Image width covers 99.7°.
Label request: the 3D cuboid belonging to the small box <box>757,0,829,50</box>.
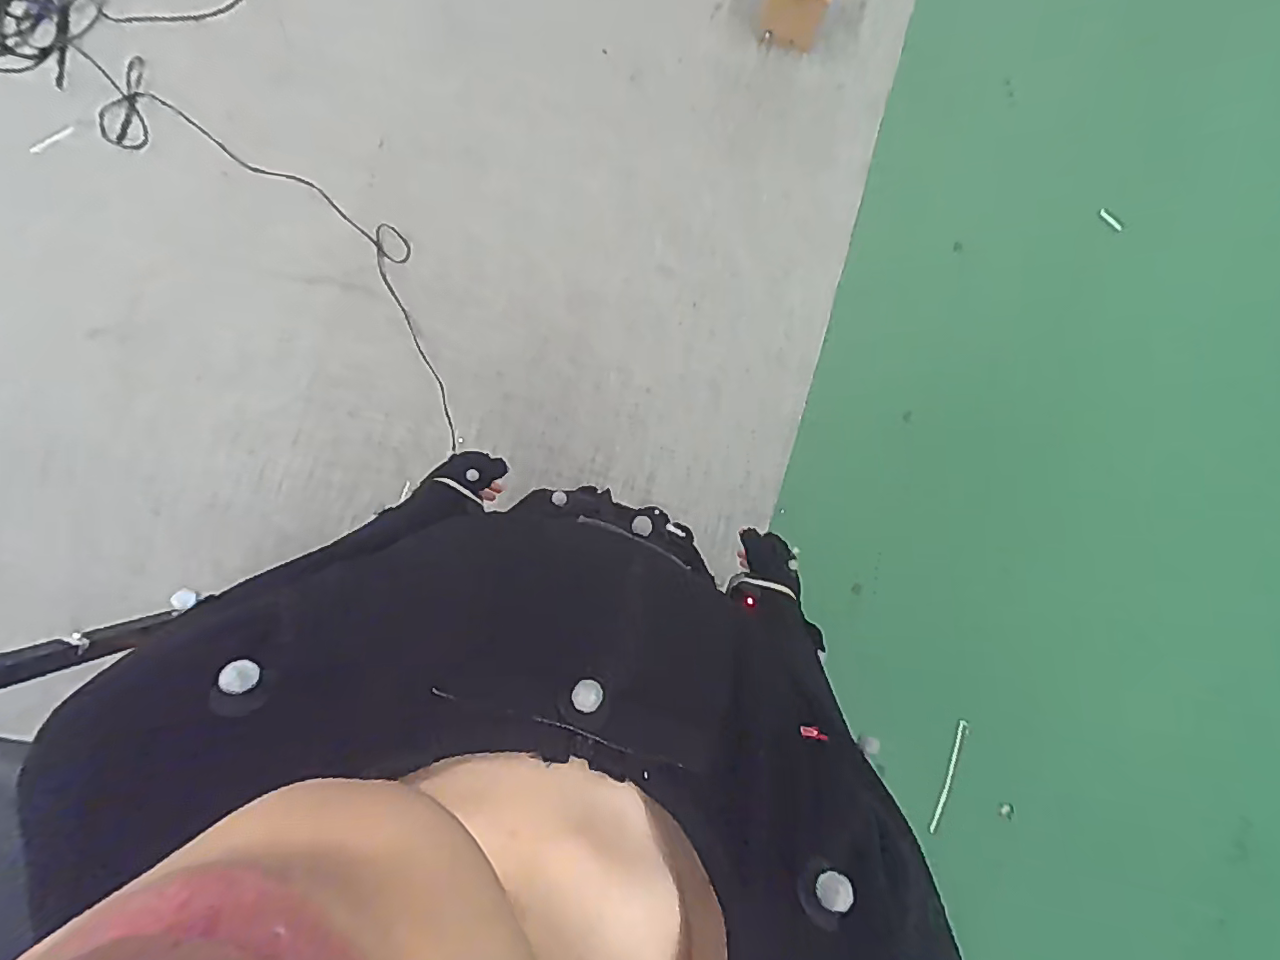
[{"bbox_3d":[0.419,-1.301,1.436,0.168,0.176,0.179,14,89,0],"label":"small box"}]
